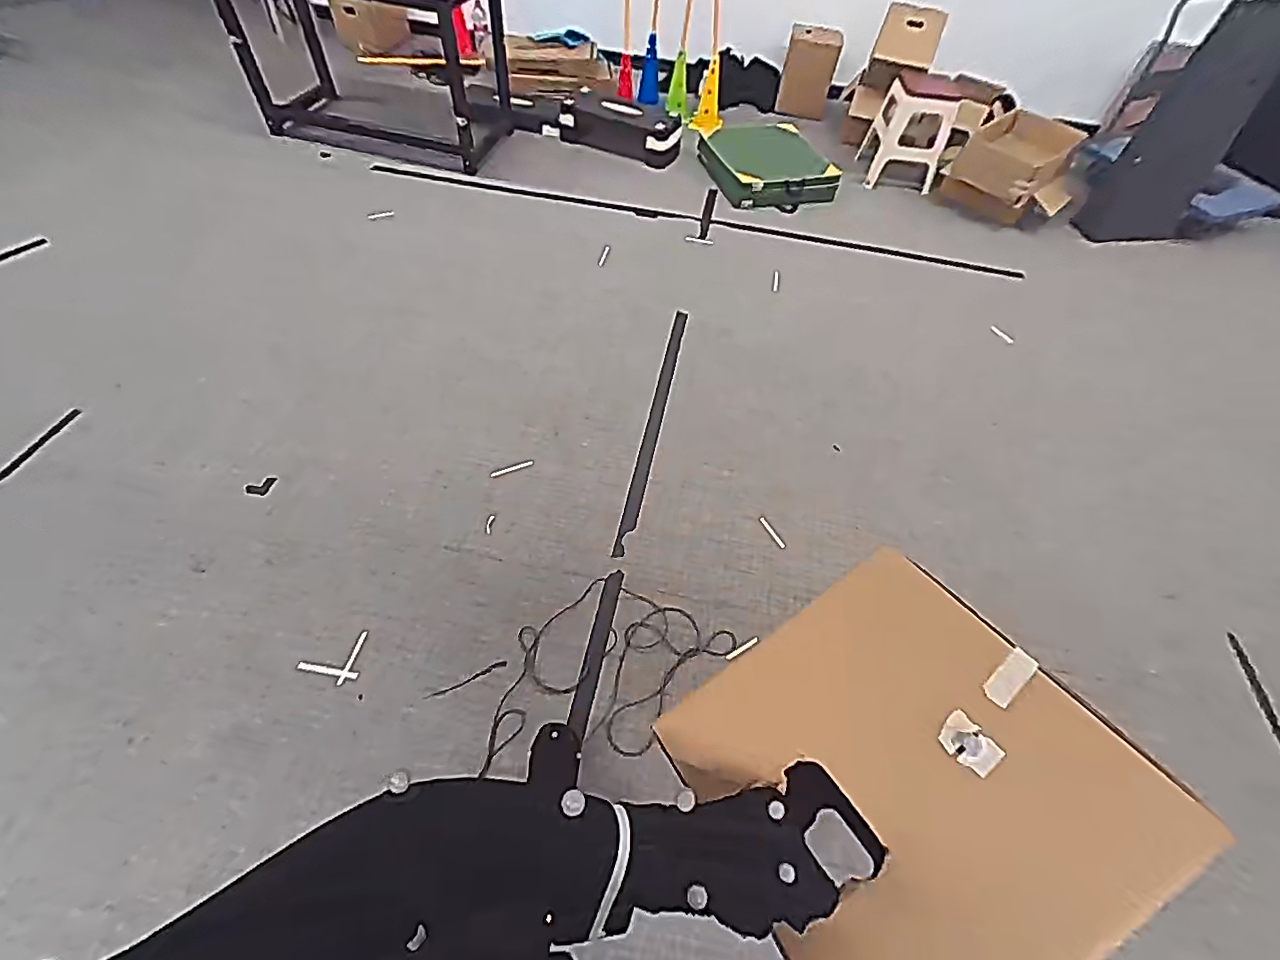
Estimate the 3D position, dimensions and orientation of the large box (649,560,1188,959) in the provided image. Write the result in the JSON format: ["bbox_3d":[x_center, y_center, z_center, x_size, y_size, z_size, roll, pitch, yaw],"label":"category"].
[{"bbox_3d":[0.268,0.364,0.611,0.320,0.408,0.320,-35,49,-4],"label":"large box"}]
